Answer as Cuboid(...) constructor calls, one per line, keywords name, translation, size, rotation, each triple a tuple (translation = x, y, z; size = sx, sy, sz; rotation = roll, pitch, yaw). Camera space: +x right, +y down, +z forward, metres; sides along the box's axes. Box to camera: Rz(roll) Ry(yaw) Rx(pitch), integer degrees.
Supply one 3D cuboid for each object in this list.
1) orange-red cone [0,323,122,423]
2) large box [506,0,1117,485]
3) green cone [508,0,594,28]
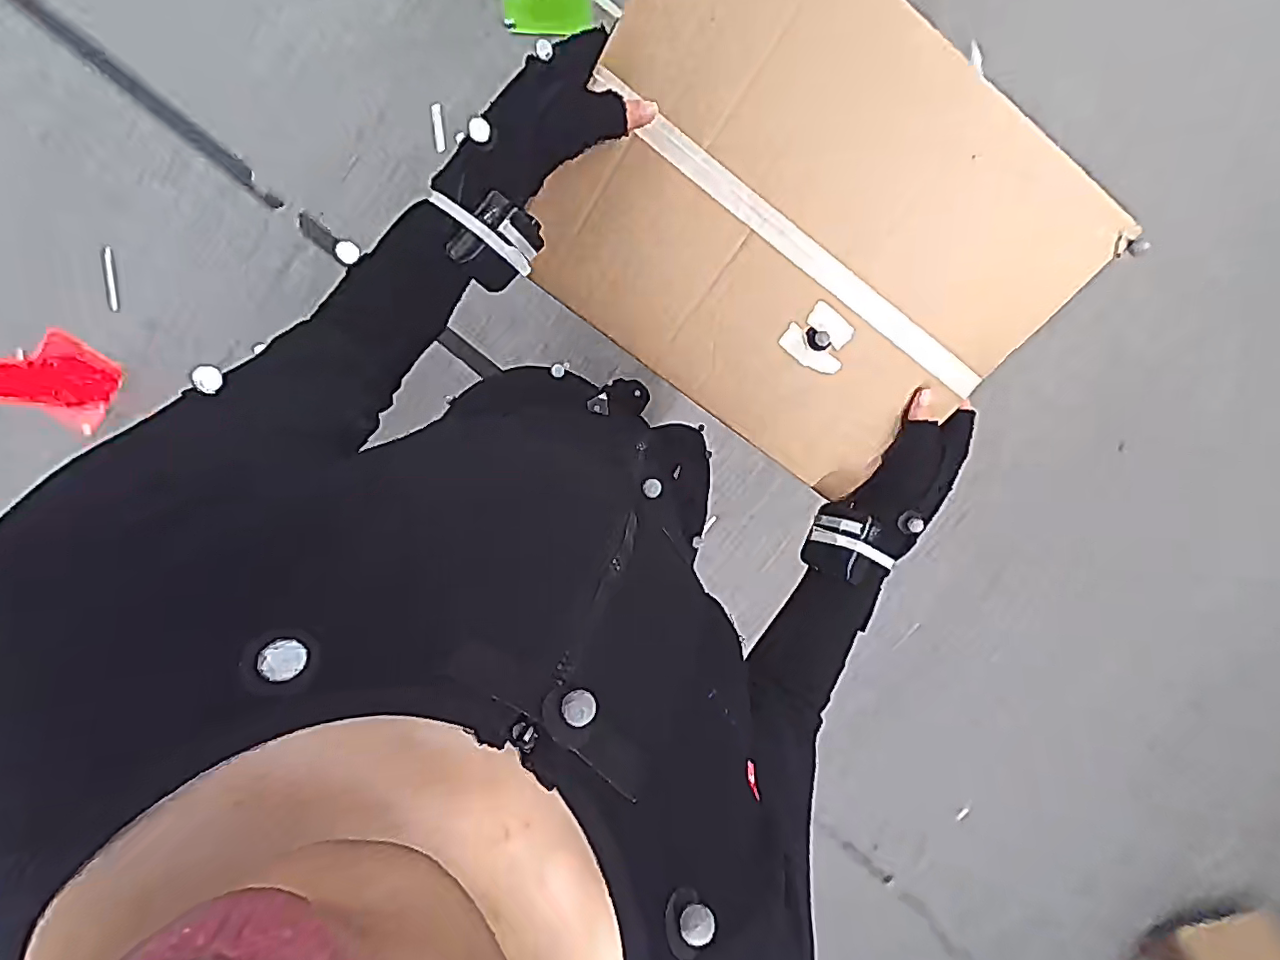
Cuboid(name="orange-red cone", translation=(-1.443, -0.237, 1.214), size=(0.199, 0.360, 0.198), rotation=(36, 99, -9))
Cuboid(name="large box", translation=(0.138, -0.271, 0.581), size=(0.408, 0.320, 0.320), rotation=(33, 116, -10))
Cuboid(name="green cone", translation=(-0.198, -1.129, 1.077), size=(0.200, 0.368, 0.202), rotation=(1, 99, -2))
